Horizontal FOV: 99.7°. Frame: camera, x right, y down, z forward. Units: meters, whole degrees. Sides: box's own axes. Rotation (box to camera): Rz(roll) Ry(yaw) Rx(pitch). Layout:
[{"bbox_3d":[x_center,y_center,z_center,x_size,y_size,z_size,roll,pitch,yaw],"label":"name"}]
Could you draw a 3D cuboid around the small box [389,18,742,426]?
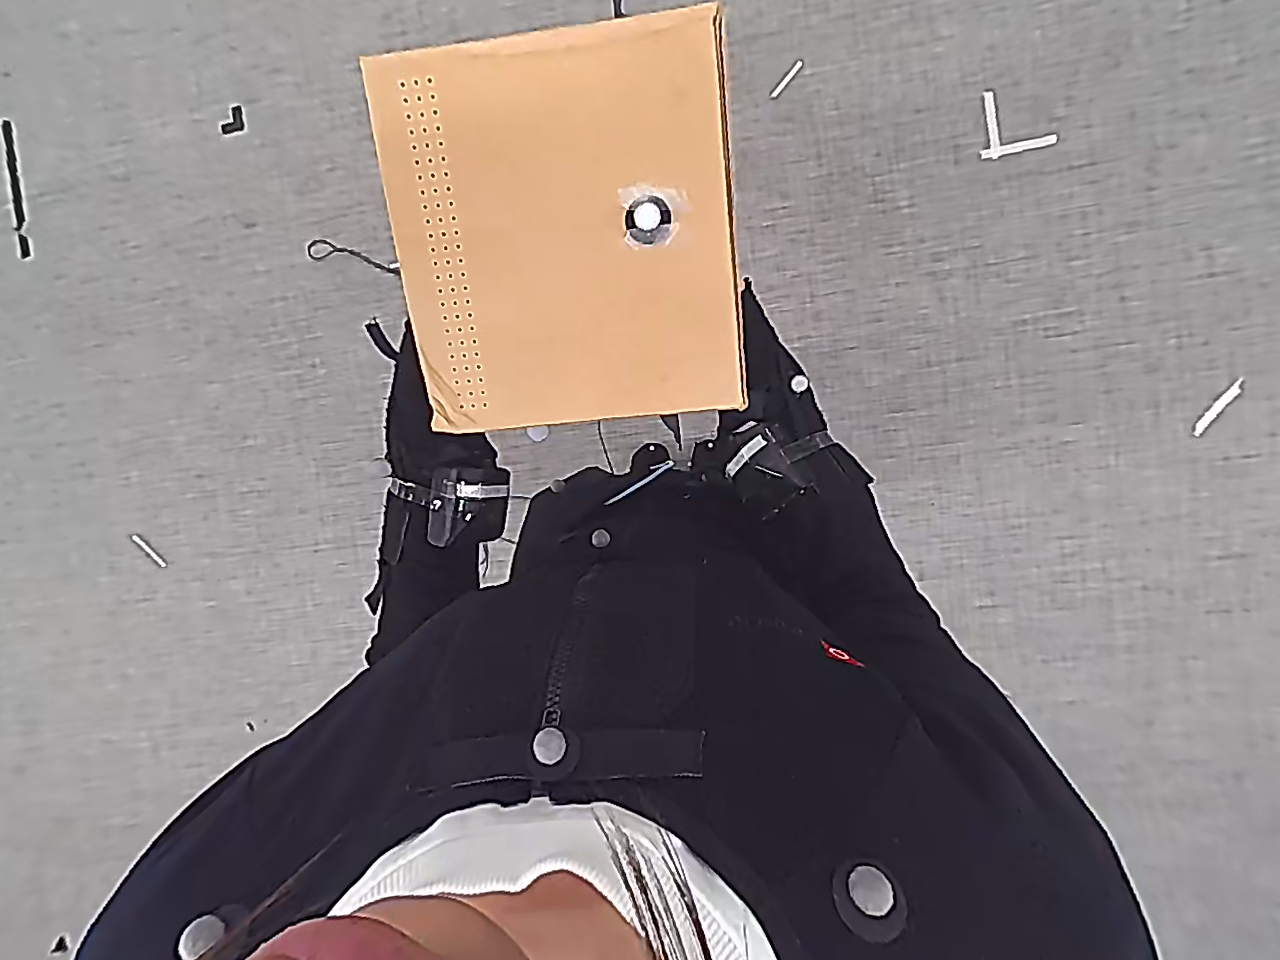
[{"bbox_3d":[-0.034,-0.138,0.347,0.176,0.168,0.179,-5,104,6],"label":"small box"}]
